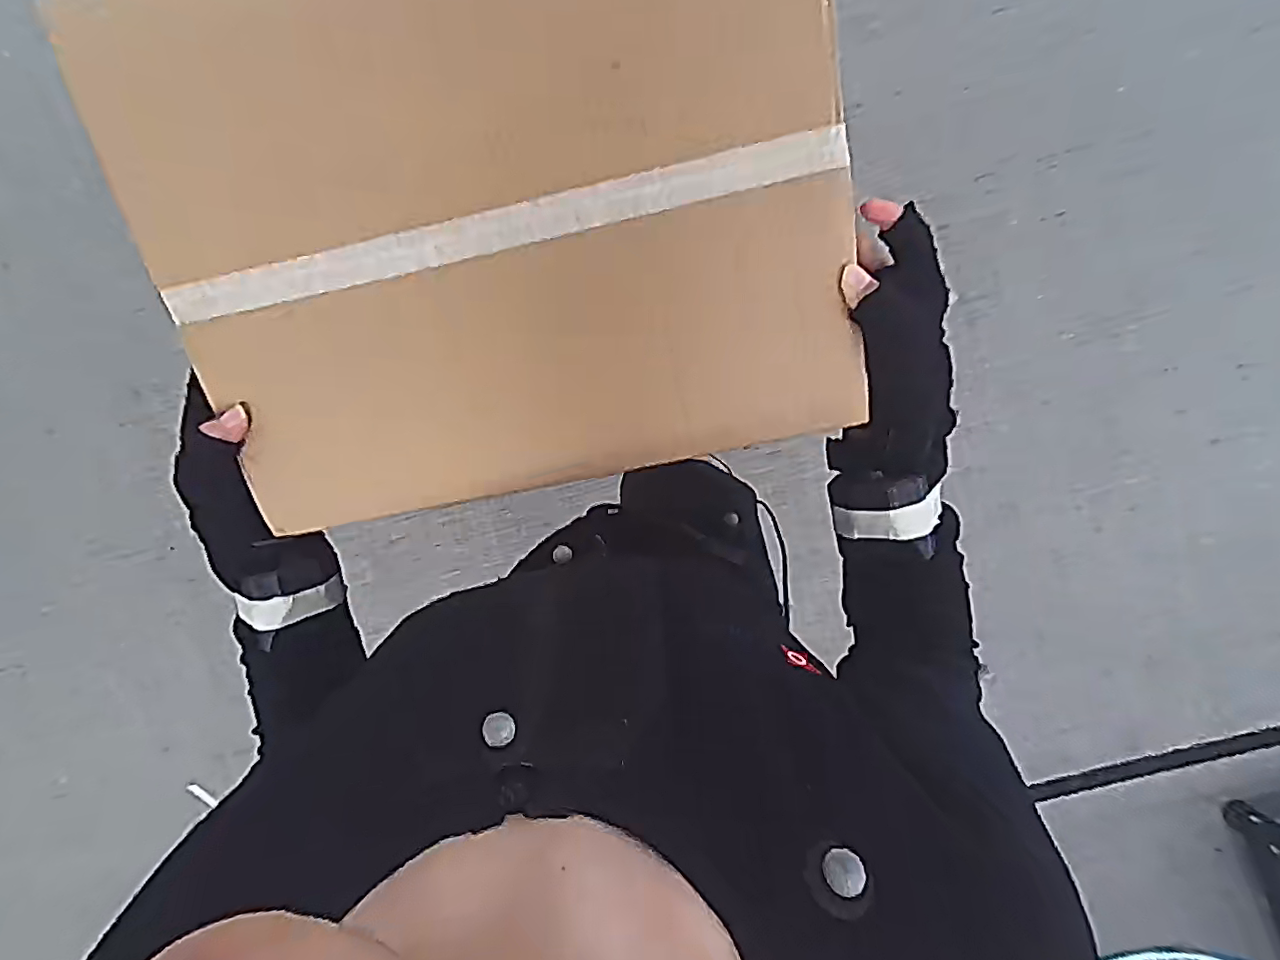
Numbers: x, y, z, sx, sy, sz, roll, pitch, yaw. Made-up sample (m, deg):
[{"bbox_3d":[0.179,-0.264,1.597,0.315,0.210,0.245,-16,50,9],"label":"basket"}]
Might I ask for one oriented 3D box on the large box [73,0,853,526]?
[{"bbox_3d":[-0.082,-0.195,0.463,0.408,0.320,0.320,-11,107,5],"label":"large box"}]
